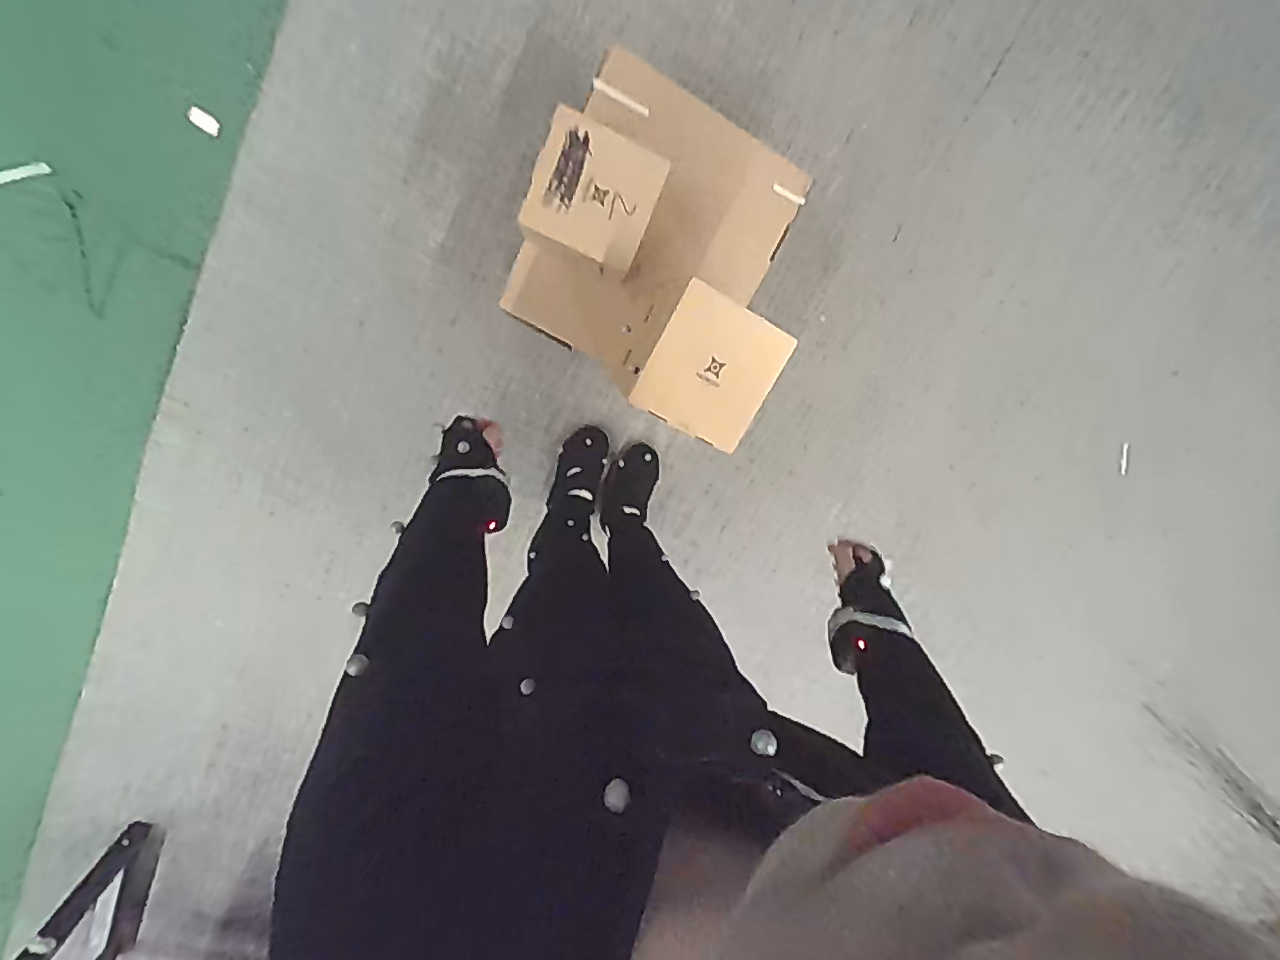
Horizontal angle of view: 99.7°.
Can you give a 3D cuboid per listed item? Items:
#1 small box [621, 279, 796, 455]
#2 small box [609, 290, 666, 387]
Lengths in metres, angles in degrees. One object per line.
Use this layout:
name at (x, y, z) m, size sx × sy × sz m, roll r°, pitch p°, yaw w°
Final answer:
small box at (0.083, -0.165, 0.776) m, size 0.168 × 0.176 × 0.179 m, roll 26°, pitch 103°, yaw -15°
small box at (0.062, -0.210, 0.931) m, size 0.179 × 0.176 × 0.168 m, roll 26°, pitch 102°, yaw -15°
